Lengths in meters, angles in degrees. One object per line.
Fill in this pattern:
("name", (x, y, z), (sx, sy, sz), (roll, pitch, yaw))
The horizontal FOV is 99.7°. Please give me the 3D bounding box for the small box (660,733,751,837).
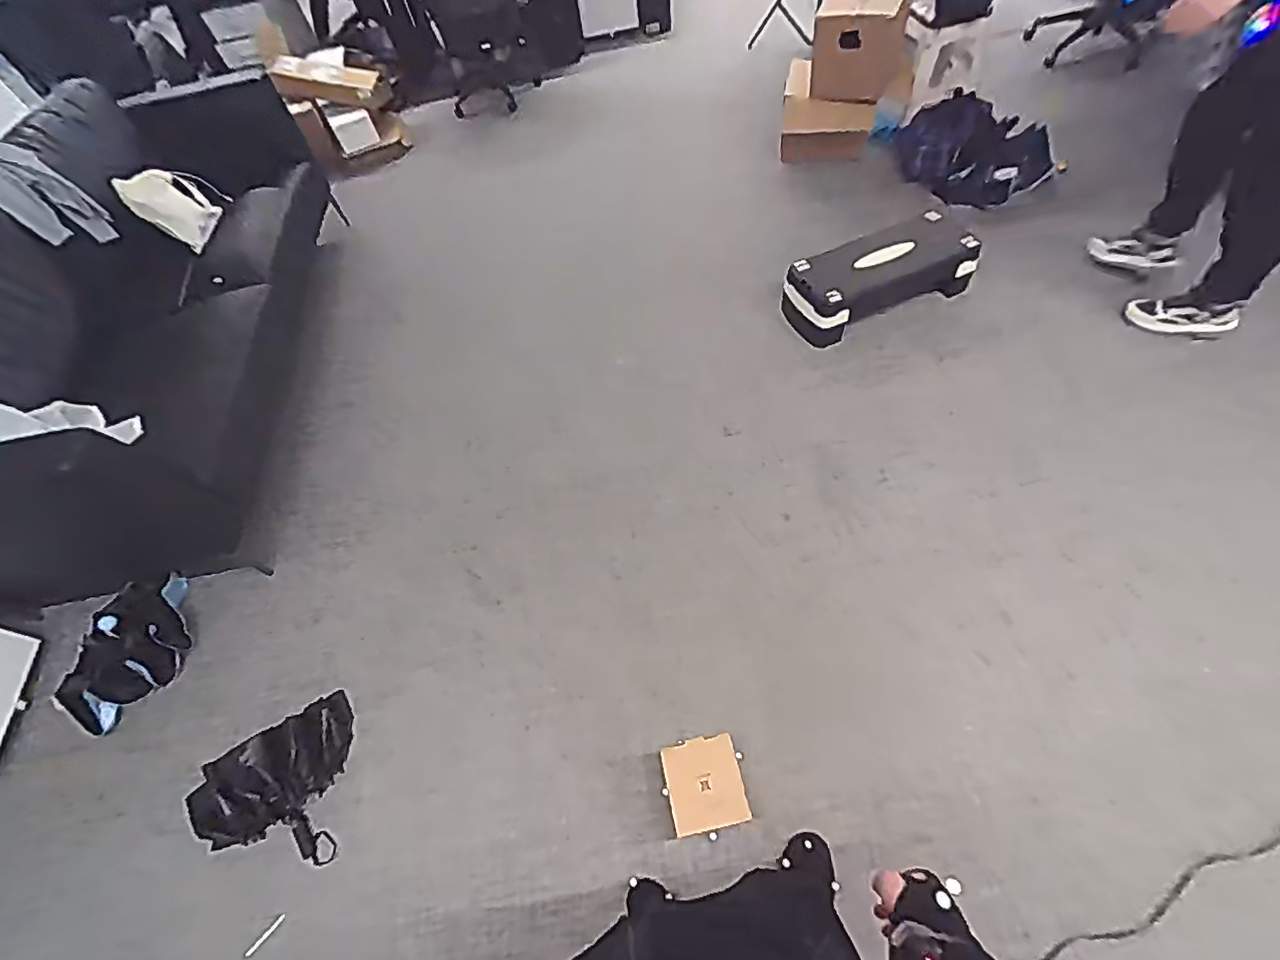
("small box", (0.150, 0.708, 1.252), (0.168, 0.176, 0.179), (-15, 57, 1))
